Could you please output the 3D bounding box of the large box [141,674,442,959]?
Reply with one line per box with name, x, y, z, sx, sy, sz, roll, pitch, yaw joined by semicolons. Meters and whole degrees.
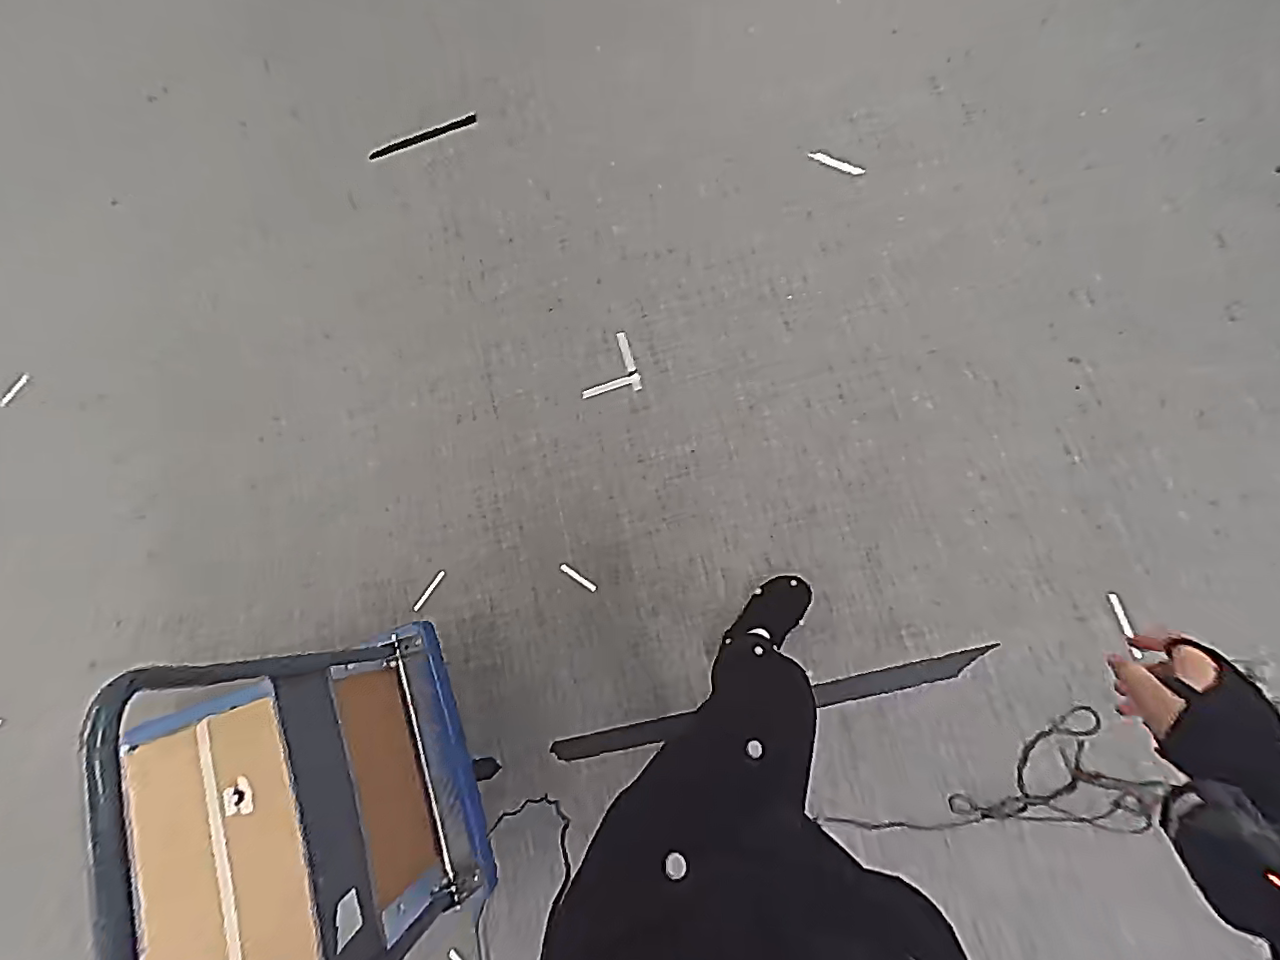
large box;-0.628;0.630;1.015;0.320;0.320;0.408;-22;75;2
